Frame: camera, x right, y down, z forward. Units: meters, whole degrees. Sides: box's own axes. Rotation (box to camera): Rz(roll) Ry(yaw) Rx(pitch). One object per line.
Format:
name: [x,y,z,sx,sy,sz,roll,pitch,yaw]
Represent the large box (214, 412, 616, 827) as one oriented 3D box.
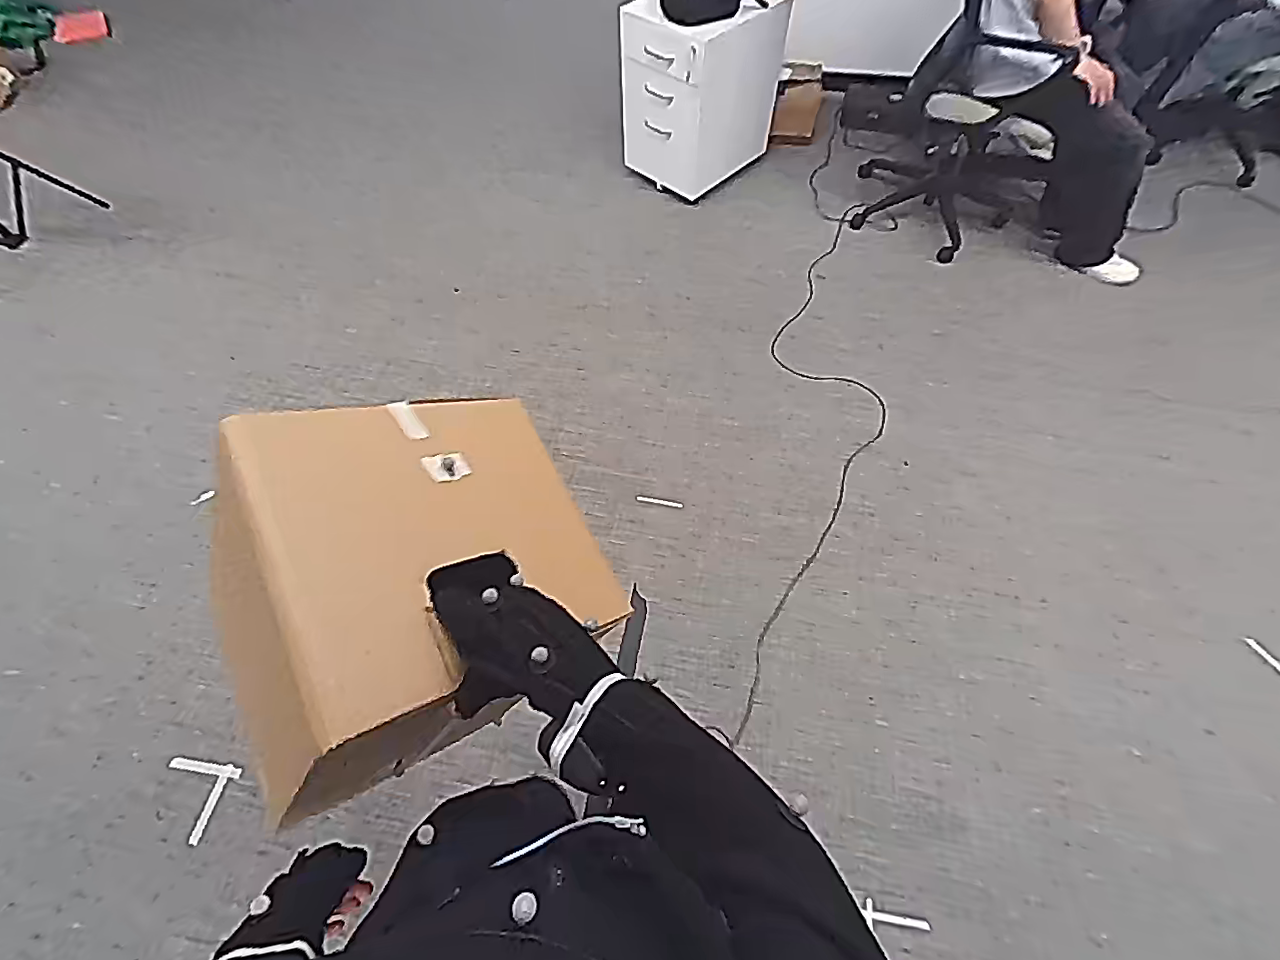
large box: [-0.303,0.166,0.678,0.320,0.408,0.320,-13,65,-44]
